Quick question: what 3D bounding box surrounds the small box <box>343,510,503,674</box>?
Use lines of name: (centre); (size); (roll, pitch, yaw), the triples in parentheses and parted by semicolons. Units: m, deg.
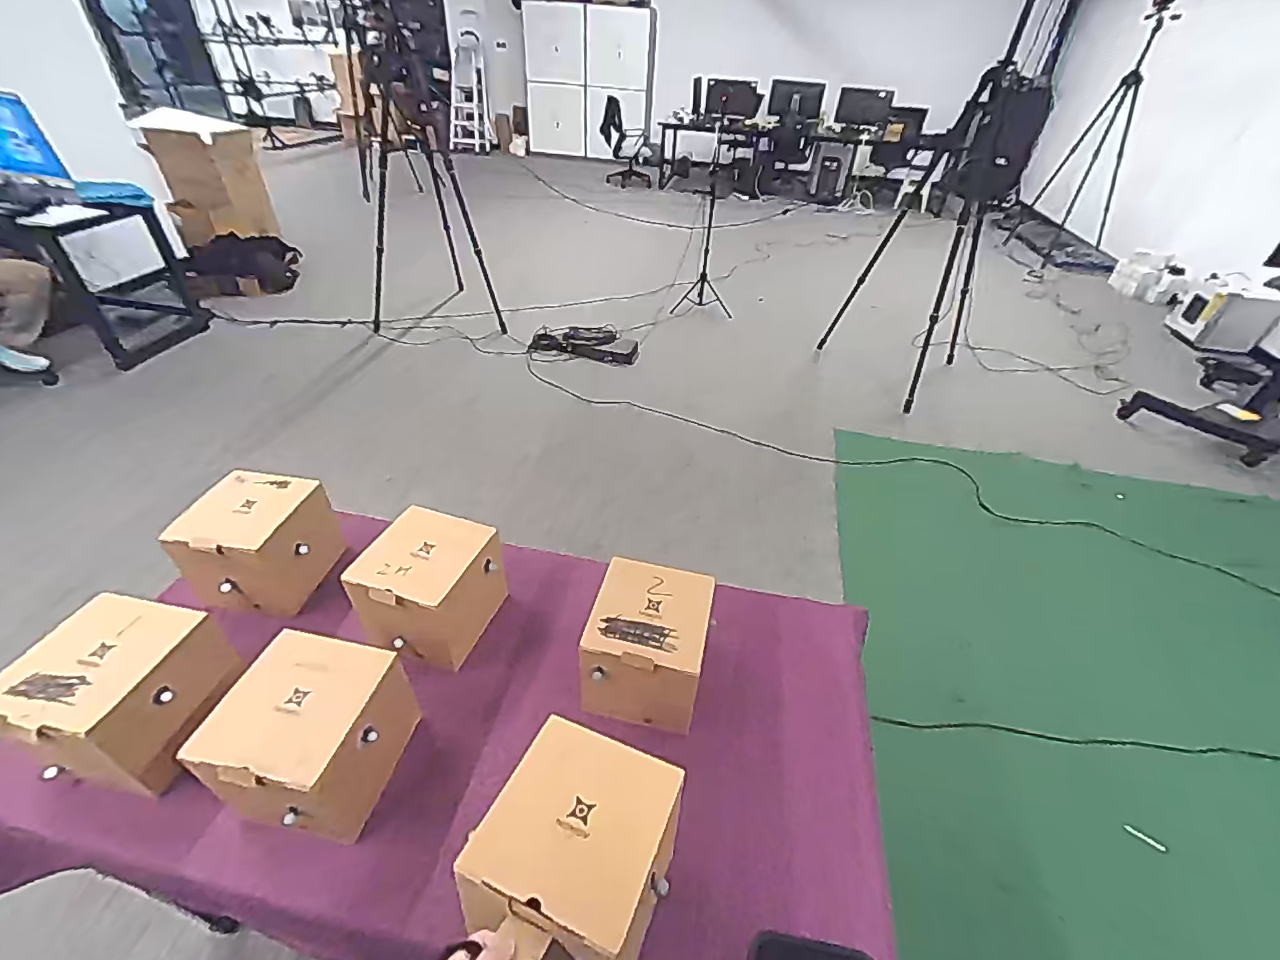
small box: (-0.341, 0.181, 0.890); (0.168, 0.176, 0.179); (13, 40, 13)

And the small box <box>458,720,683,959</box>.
small box: (-0.066, 0.403, 0.571); (0.168, 0.176, 0.179); (14, 32, 18)

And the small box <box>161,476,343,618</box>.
small box: (-0.657, 0.118, 0.946); (0.168, 0.176, 0.179); (7, 40, 4)

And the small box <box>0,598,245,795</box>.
small box: (-0.686, 0.291, 0.729); (0.168, 0.176, 0.179); (9, 38, 6)

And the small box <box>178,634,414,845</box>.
small box: (-0.417, 0.334, 0.697); (0.168, 0.176, 0.179); (10, 38, 7)
